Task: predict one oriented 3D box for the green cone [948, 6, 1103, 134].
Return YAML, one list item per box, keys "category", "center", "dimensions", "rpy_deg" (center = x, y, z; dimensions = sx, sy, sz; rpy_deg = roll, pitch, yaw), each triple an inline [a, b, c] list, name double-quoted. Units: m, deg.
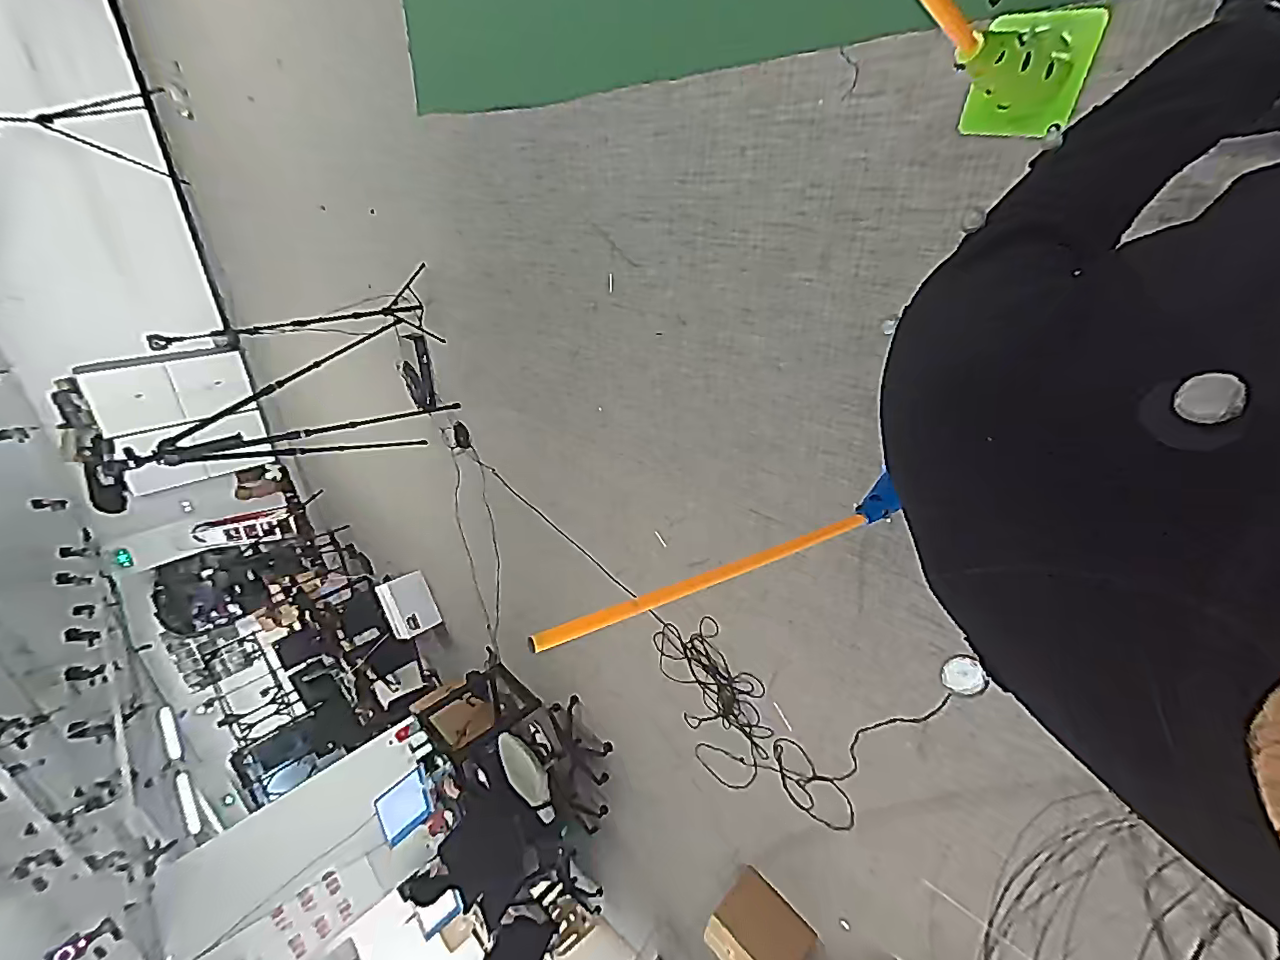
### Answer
- category: "green cone"
  center: [0.650, -0.761, 0.978]
  dimensions: [0.202, 0.368, 0.200]
  rpy_deg: [30, 129, 36]
